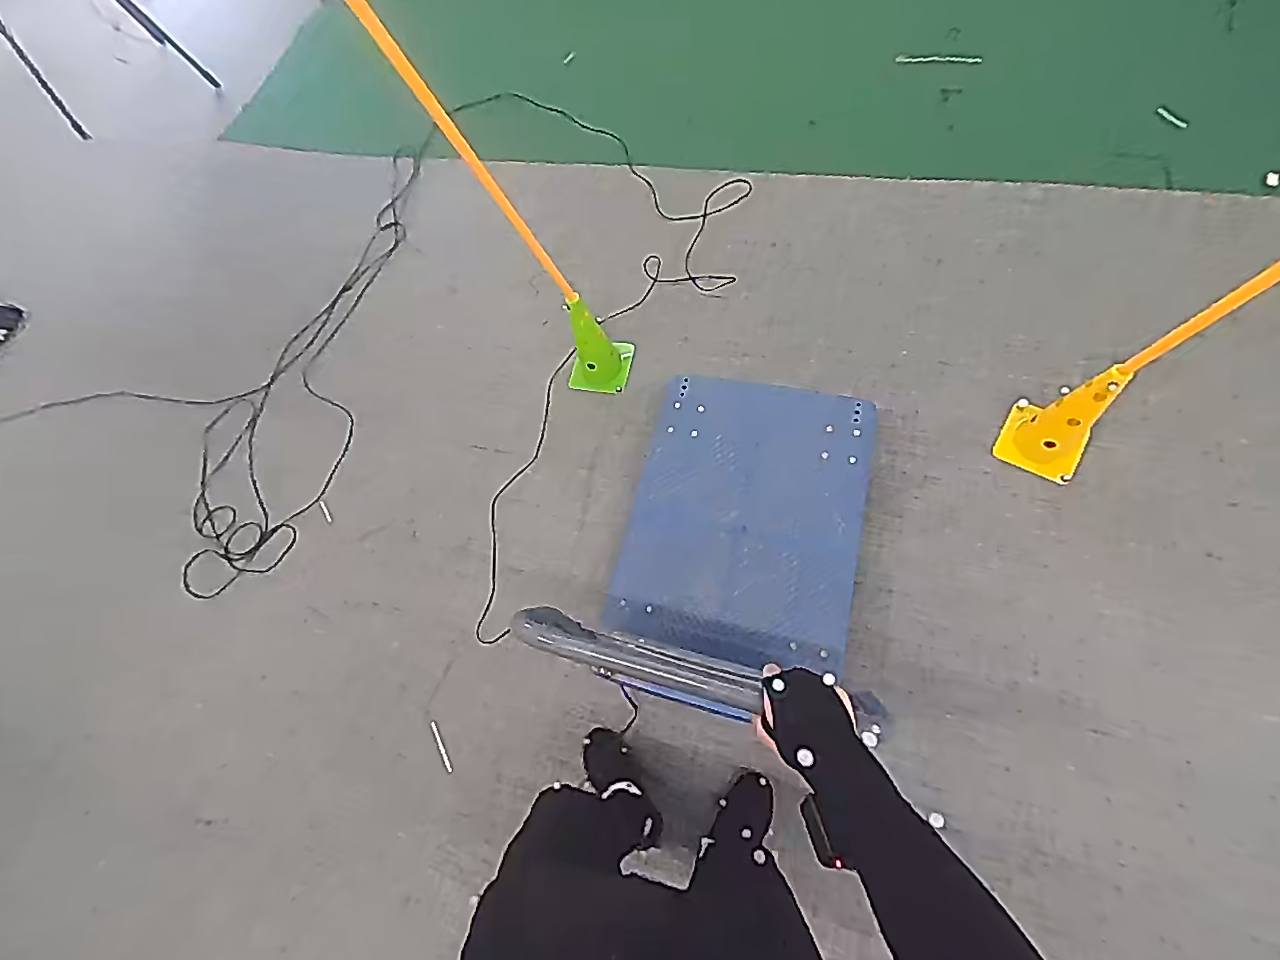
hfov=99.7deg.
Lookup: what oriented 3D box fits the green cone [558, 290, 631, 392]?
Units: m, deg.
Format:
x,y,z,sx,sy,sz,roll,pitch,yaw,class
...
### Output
x,y,z,sx,sy,sz,roll,pitch,yaw,class
-0.172,-0.458,1.688,0.202,0.368,0.200,7,69,15,green cone
